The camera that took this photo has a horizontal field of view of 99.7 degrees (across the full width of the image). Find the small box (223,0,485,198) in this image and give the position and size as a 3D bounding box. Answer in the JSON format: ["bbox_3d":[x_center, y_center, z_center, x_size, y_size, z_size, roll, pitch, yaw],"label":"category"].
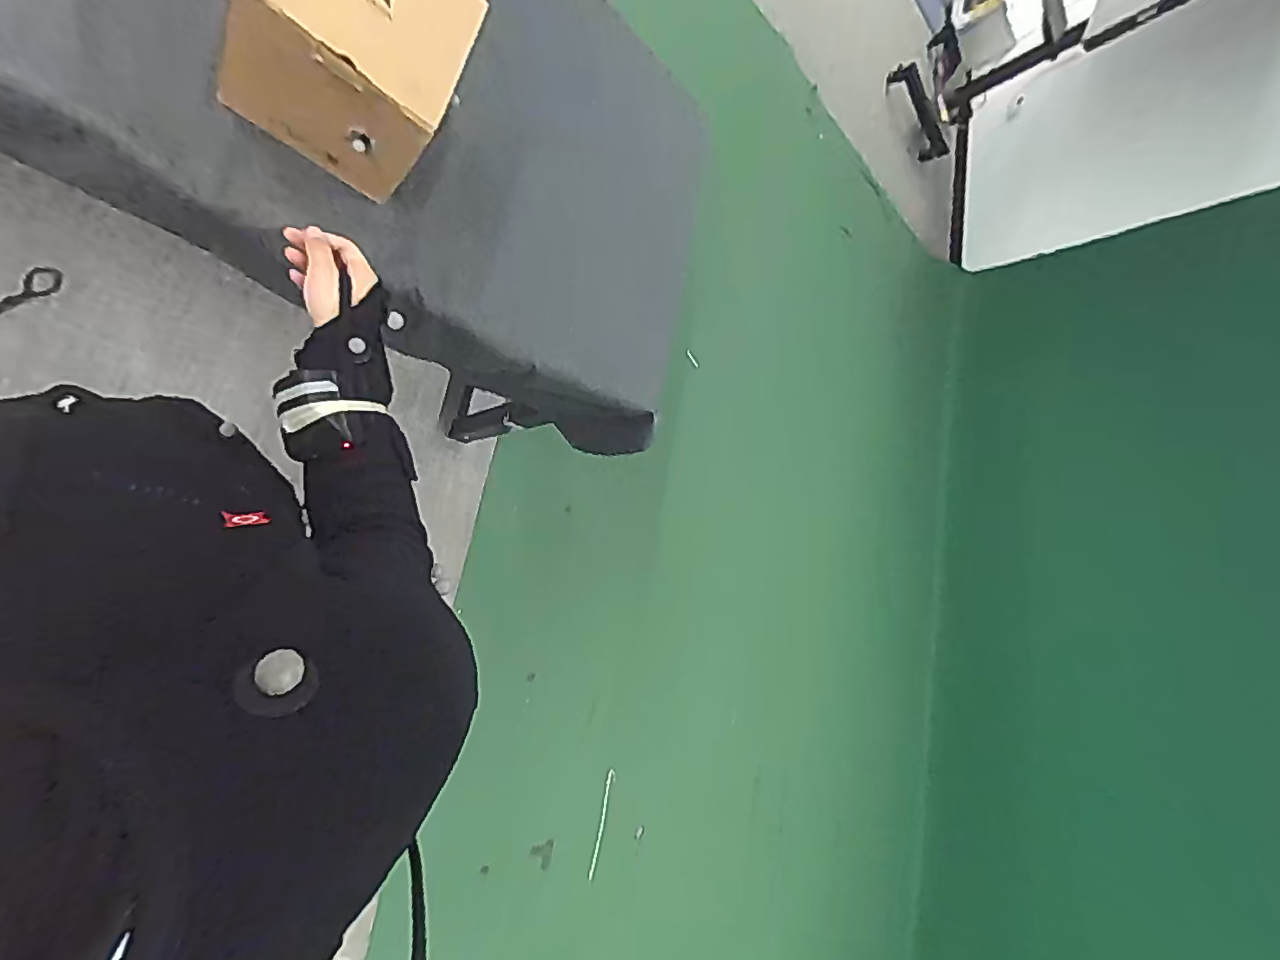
[{"bbox_3d":[-0.289,-0.429,0.544,0.168,0.176,0.179,26,70,-39],"label":"small box"}]
